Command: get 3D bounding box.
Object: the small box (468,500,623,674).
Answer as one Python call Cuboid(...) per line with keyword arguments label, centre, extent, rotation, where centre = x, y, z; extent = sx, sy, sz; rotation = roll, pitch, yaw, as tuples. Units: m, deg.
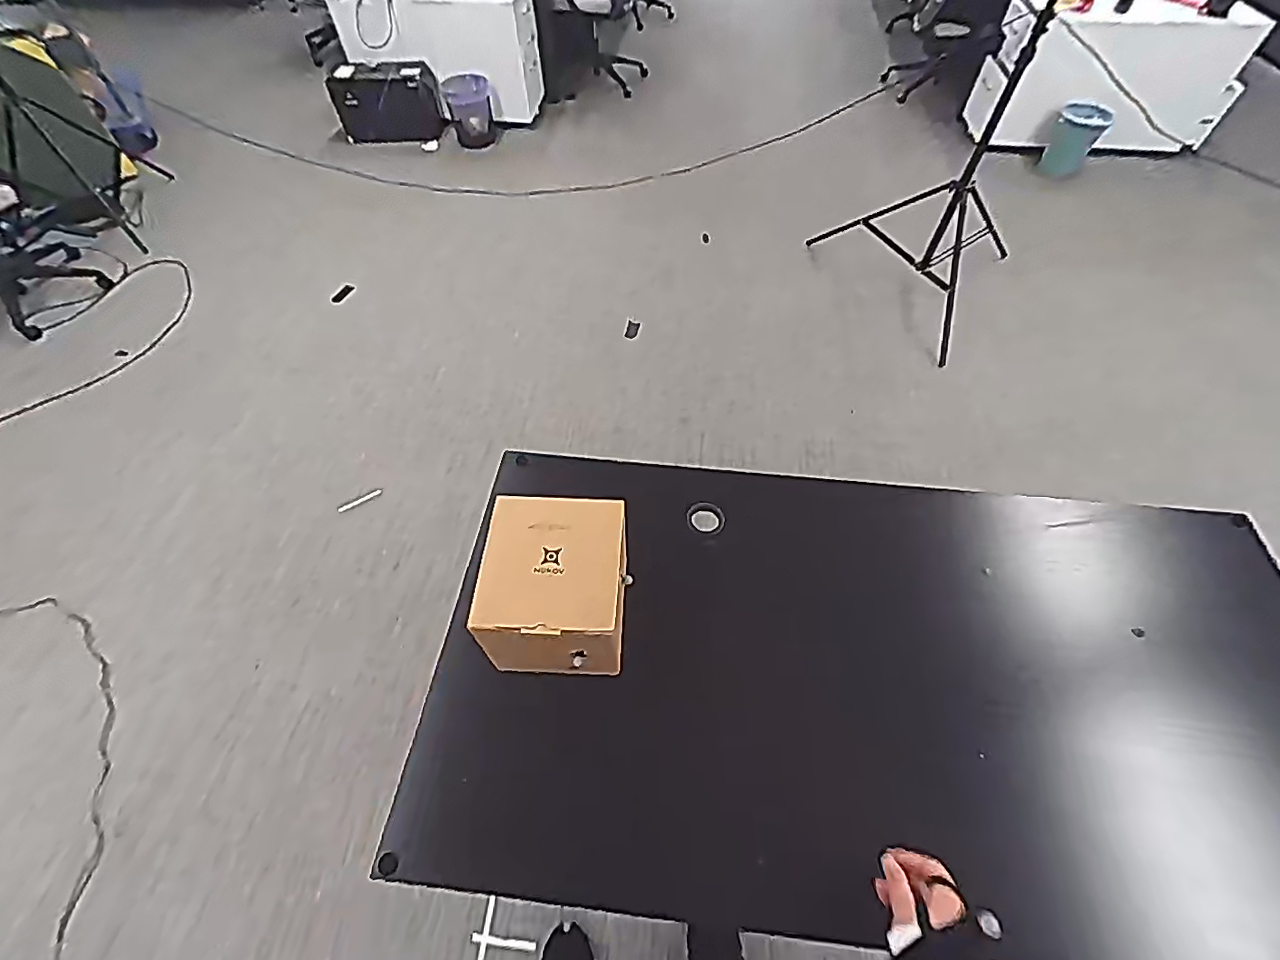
Cuboid(label="small box", centre=(-0.110, 0.146, 0.714), extent=(0.168, 0.176, 0.179), rotation=(2, 54, 0))
